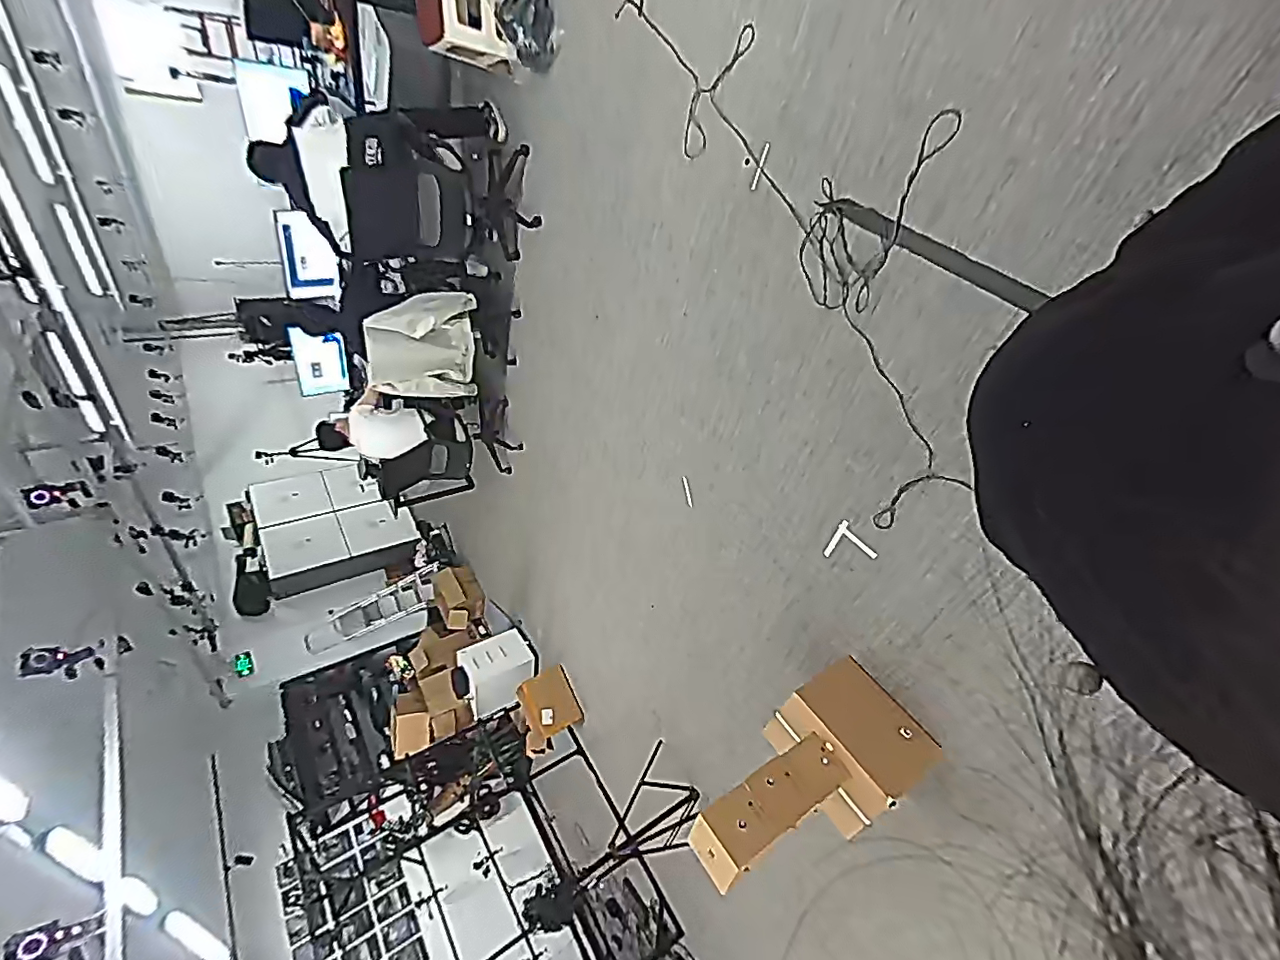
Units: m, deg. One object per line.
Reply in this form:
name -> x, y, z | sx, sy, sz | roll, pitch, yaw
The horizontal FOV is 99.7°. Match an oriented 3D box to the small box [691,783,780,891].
small box -> 0.275, 1.016, 1.550 | 0.168, 0.176, 0.179 | 44, 136, 40

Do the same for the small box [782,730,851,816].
small box -> 0.539, 0.942, 1.729 | 0.168, 0.176, 0.179 | 47, 138, 35

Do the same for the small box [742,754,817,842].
small box -> 0.407, 0.973, 1.640 | 0.168, 0.176, 0.179 | 47, 139, 37
